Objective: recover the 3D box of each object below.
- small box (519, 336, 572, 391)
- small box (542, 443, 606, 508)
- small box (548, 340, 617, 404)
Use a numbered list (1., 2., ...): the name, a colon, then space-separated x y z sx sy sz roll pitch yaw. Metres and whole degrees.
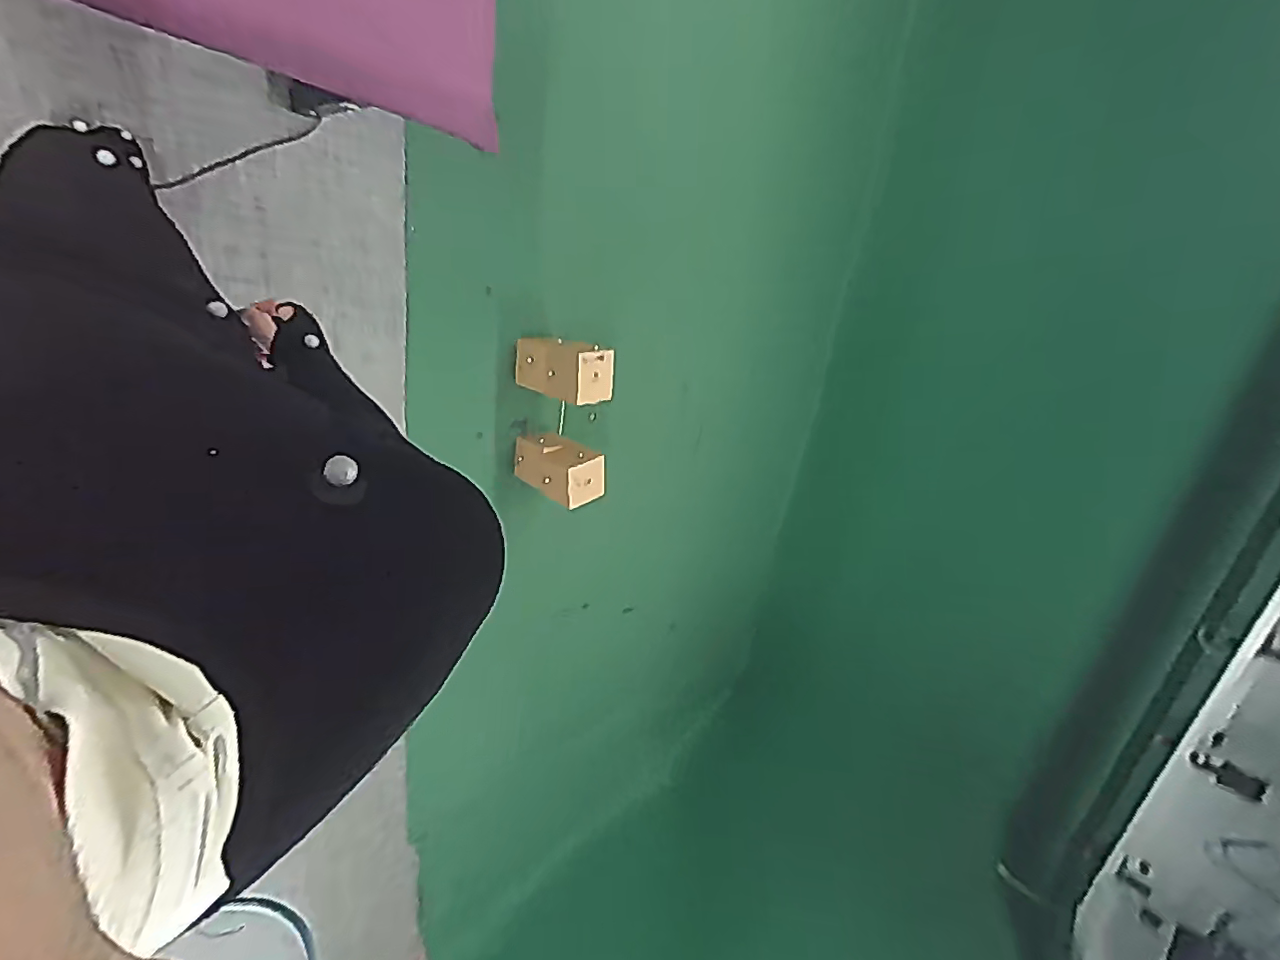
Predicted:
1. small box: -0.324 -0.426 1.964 0.179 0.176 0.168 -17 122 -46
2. small box: -0.244 -0.025 2.008 0.179 0.176 0.168 -24 127 -41
3. small box: -0.202 -0.376 1.865 0.168 0.176 0.179 -19 124 -45
